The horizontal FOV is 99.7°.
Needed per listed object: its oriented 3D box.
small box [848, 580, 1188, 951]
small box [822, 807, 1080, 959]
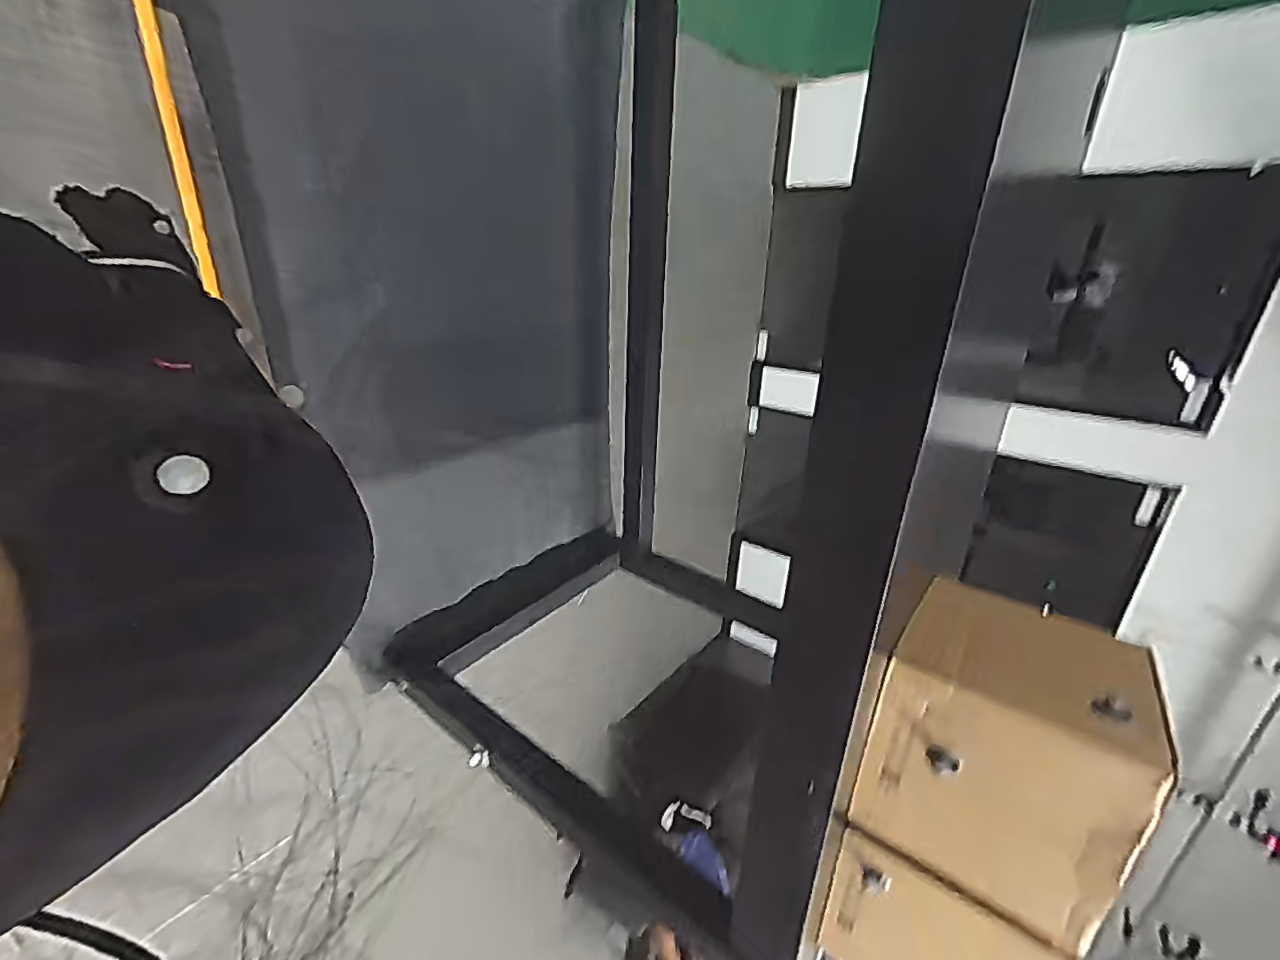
[{"bbox_3d":[0.296,0.206,0.450,0.179,0.176,0.168,-19,120,-49],"label":"small box"},{"bbox_3d":[0.289,0.376,0.515,0.179,0.176,0.168,-21,122,-50],"label":"small box"}]
